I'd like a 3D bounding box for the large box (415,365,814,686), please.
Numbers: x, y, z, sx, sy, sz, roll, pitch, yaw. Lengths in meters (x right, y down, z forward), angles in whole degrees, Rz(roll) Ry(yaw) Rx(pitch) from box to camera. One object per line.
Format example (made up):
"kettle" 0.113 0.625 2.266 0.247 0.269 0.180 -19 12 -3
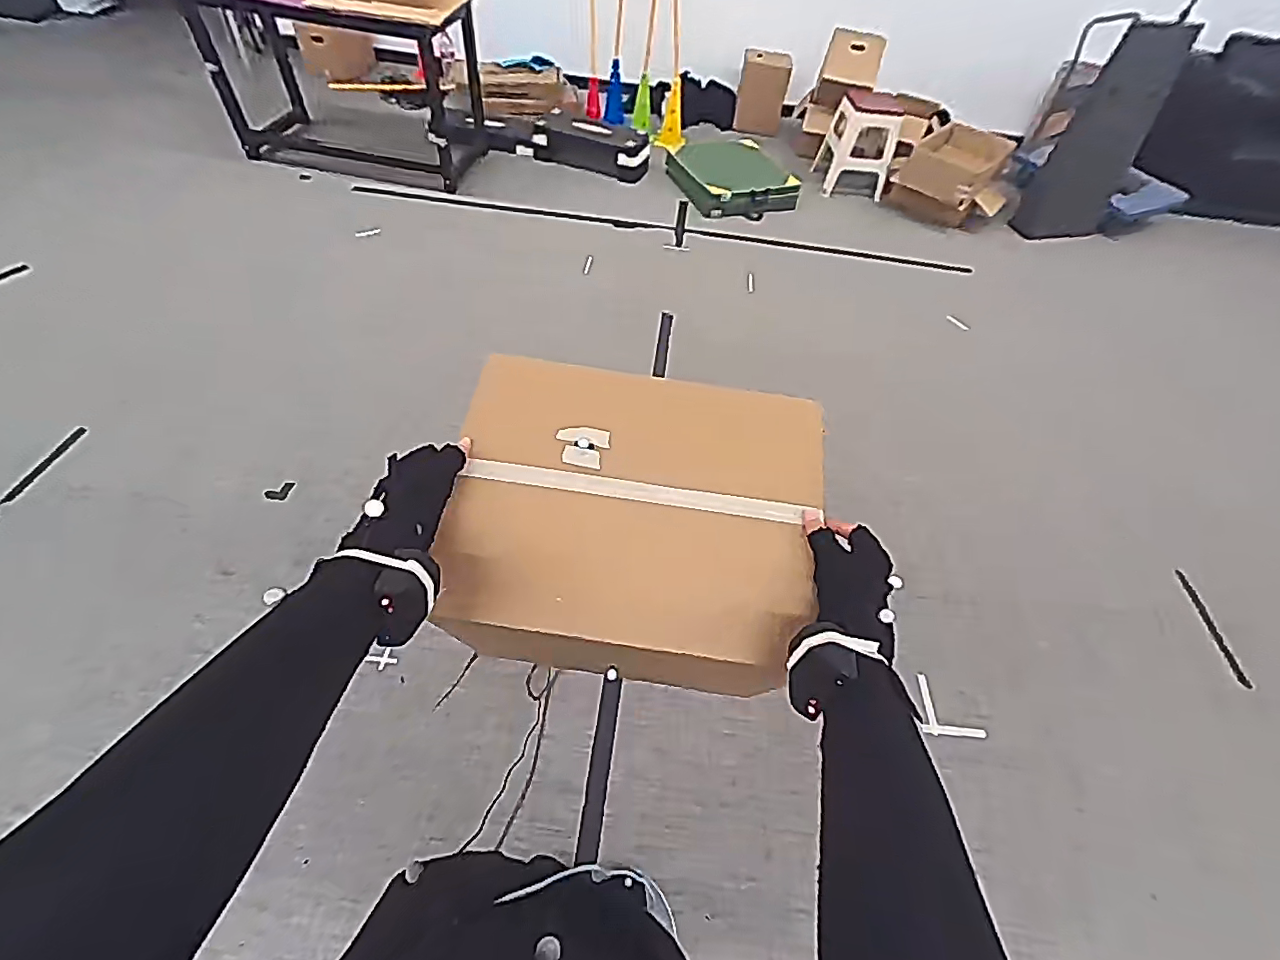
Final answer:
"large box" -0.011 0.082 0.727 0.408 0.320 0.320 8 64 2
